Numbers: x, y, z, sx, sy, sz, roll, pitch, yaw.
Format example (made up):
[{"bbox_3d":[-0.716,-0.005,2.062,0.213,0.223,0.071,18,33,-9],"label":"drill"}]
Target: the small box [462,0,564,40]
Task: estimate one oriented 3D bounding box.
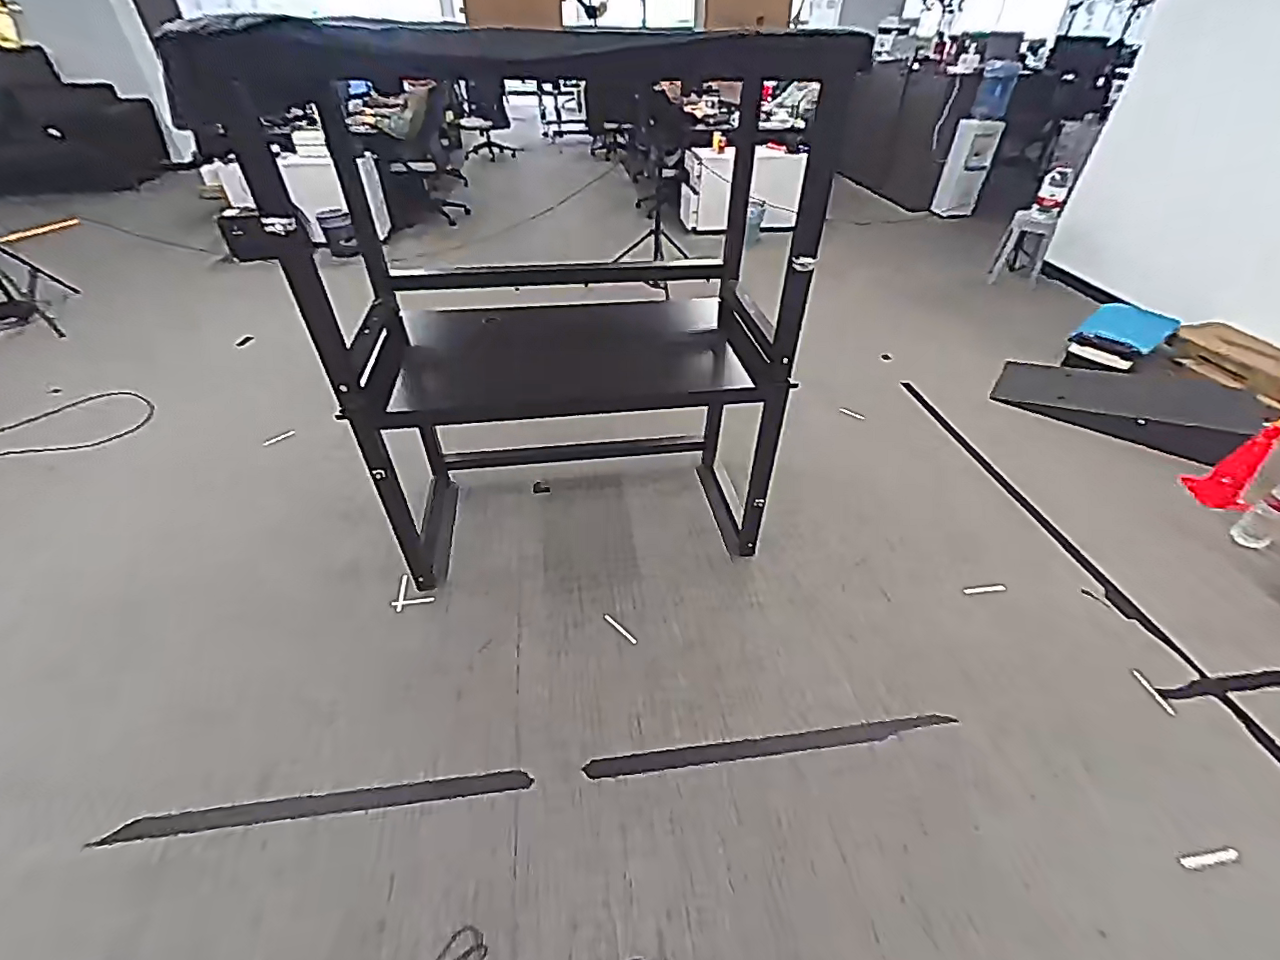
[{"bbox_3d":[-0.237,-0.910,0.978,0.179,0.176,0.168,-7,40,-9],"label":"small box"}]
